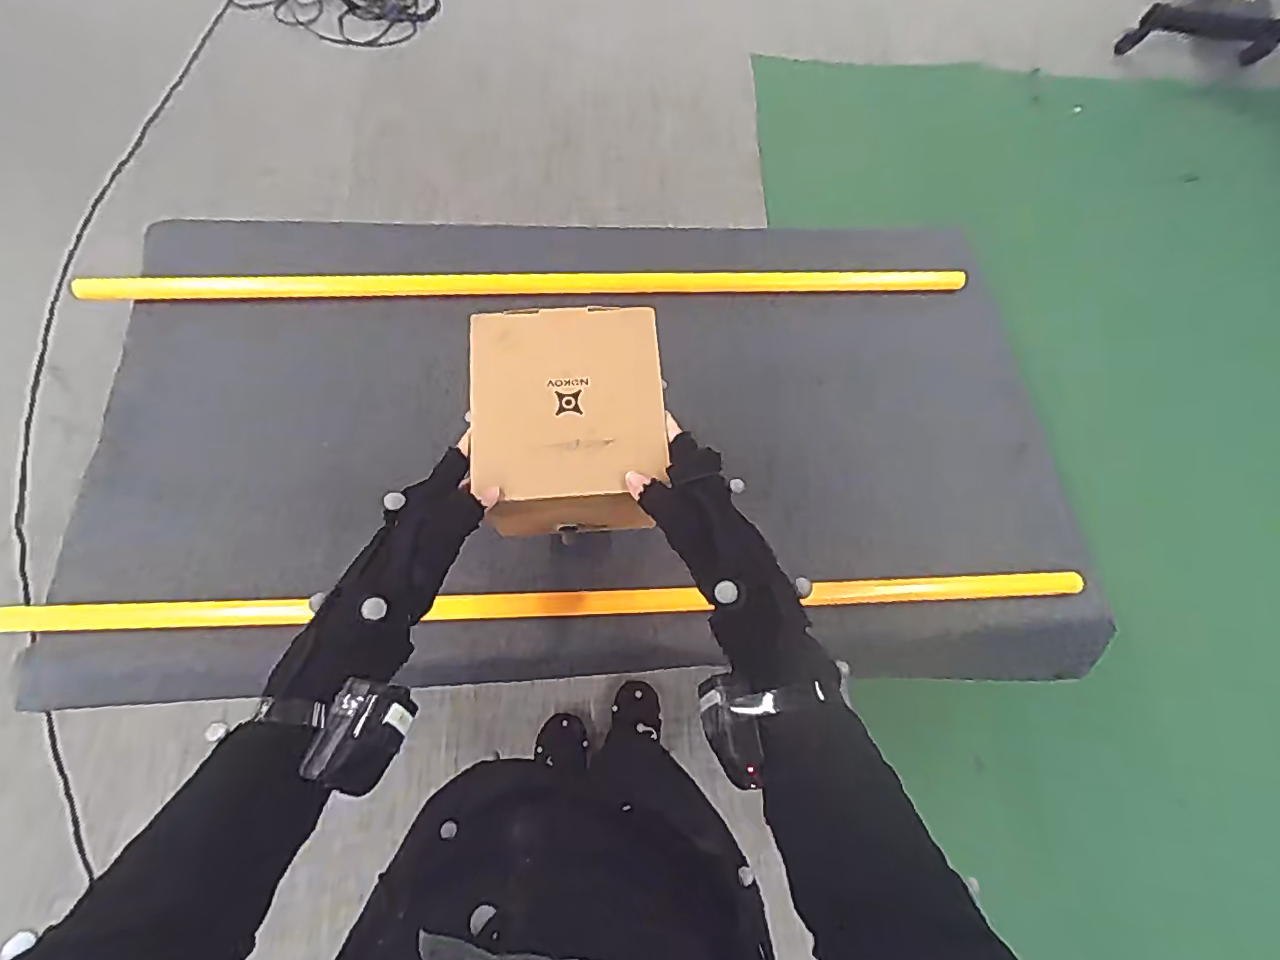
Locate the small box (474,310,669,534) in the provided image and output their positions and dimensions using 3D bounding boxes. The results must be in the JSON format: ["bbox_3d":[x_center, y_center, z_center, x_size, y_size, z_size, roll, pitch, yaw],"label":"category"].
[{"bbox_3d":[-0.068,-0.049,0.552,0.168,0.176,0.179,-5,76,-4],"label":"small box"}]
